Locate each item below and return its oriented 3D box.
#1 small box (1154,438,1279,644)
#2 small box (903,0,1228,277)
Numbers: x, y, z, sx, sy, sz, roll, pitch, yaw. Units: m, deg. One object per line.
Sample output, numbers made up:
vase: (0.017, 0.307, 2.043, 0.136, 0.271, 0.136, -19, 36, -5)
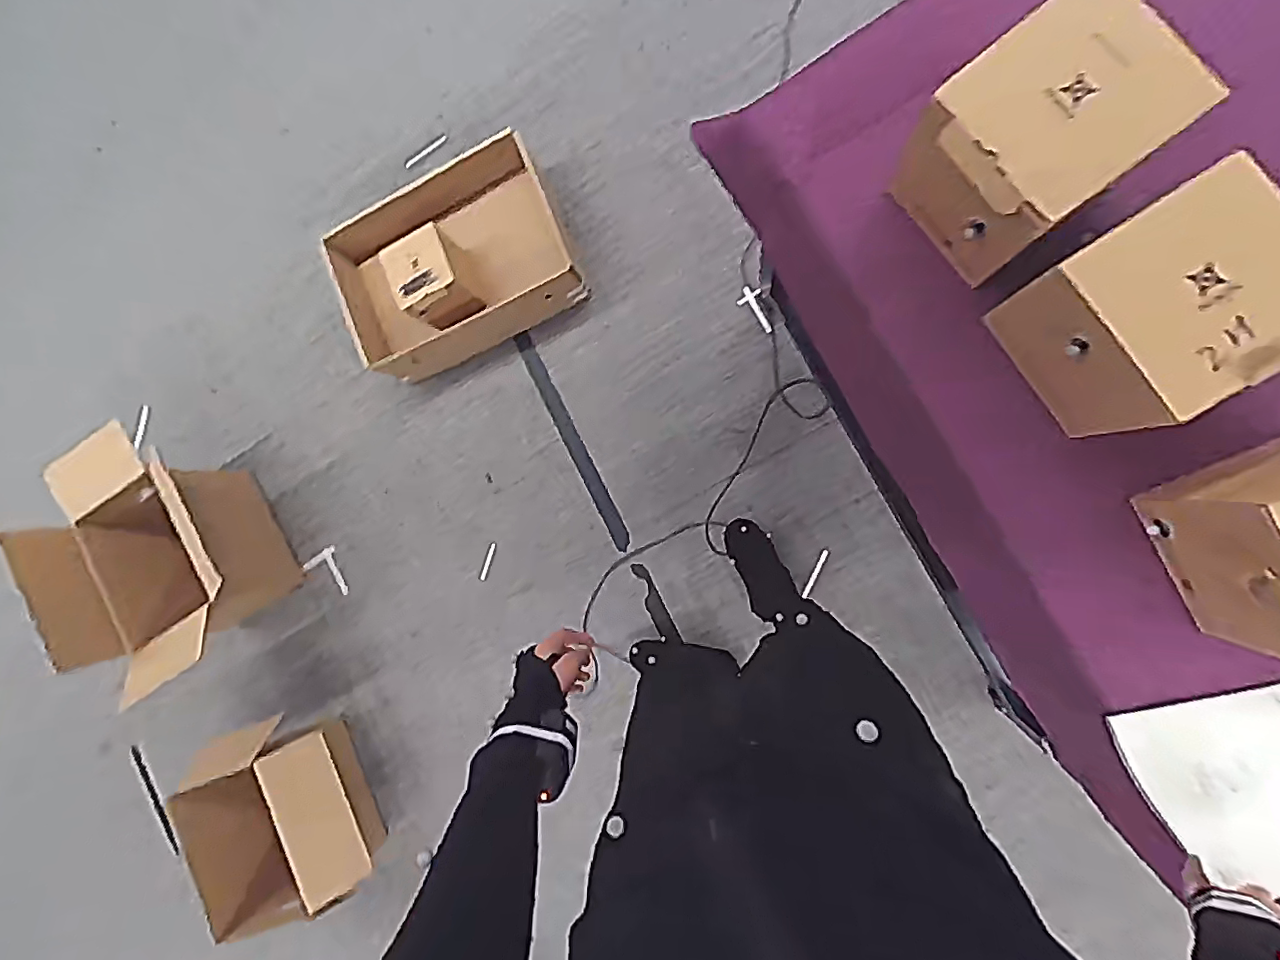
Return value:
small box: (0.650, 0.054, 0.508, 0.179, 0.176, 0.168, -26, 85, 10)
small box: (0.401, -0.346, 0.558, 0.179, 0.176, 0.168, -37, 84, 9)
